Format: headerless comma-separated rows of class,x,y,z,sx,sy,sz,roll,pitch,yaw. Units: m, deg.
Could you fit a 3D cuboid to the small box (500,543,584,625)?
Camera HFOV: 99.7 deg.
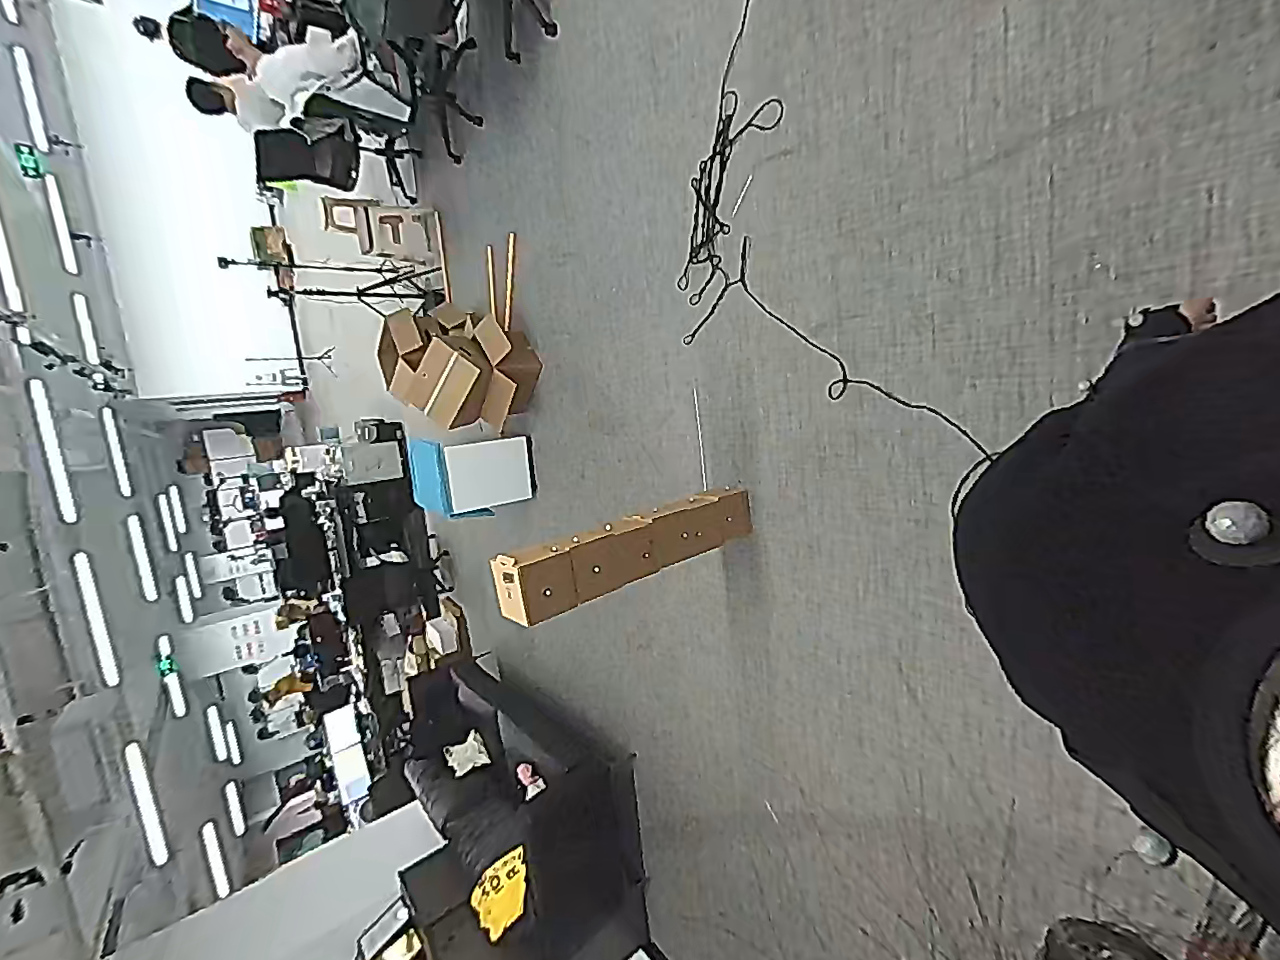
small box,-0.283,0.292,1.571,0.168,0.176,0.179,3,104,51

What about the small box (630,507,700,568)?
small box,0.089,0.193,1.876,0.168,0.176,0.179,0,99,53

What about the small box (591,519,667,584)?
small box,-0.037,0.228,1.777,0.179,0.176,0.168,-1,100,51

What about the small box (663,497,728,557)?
small box,0.208,0.168,1.985,0.168,0.176,0.179,3,102,52

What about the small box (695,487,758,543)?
small box,0.336,0.129,2.080,0.168,0.176,0.179,3,102,53
